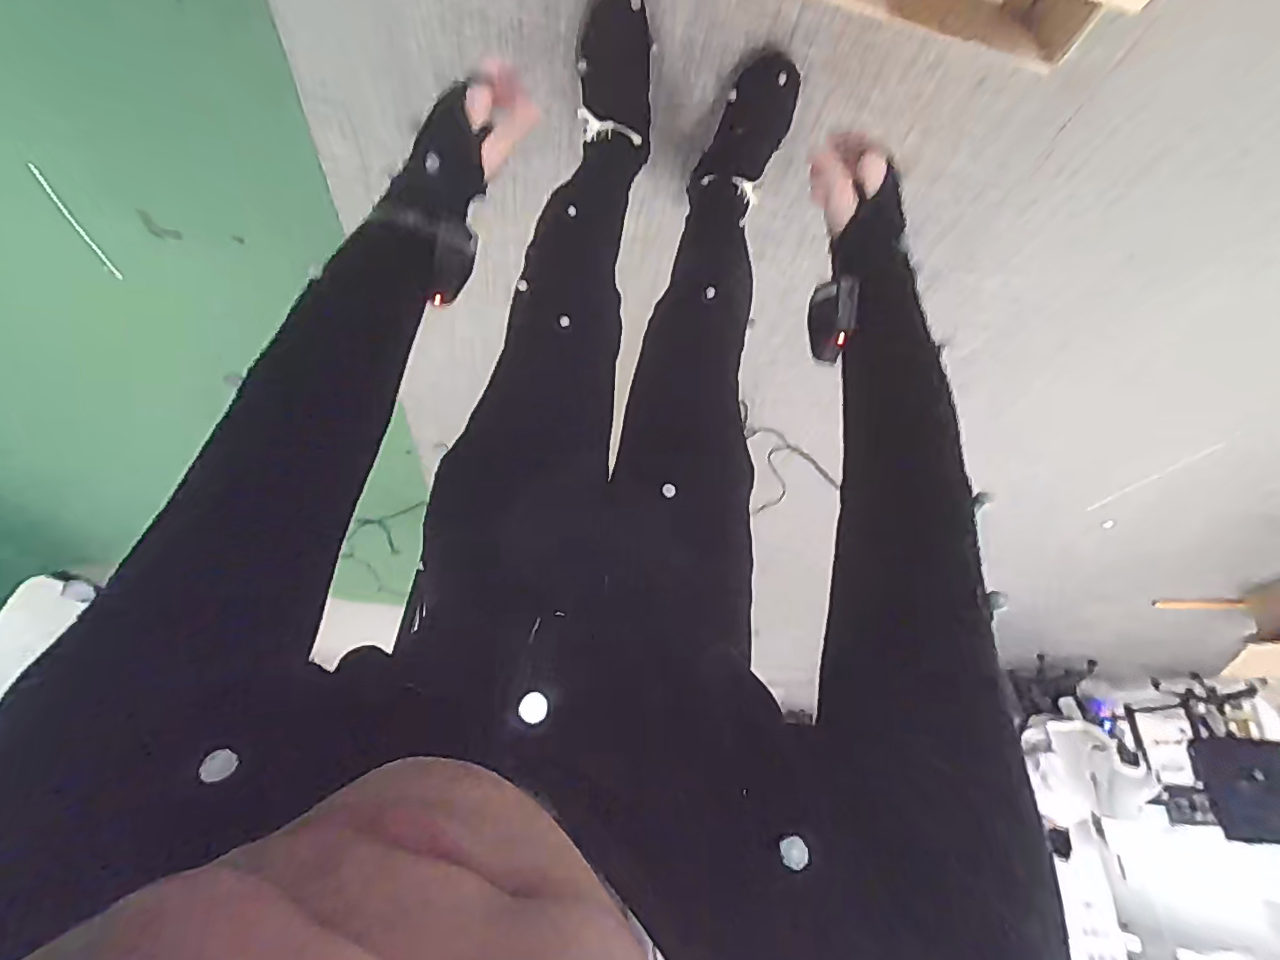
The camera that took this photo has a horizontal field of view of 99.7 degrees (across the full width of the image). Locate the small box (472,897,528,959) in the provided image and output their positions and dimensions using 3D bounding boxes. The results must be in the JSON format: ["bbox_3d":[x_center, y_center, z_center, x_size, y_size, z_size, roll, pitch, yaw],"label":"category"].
[{"bbox_3d":[-0.492,1.590,1.906,0.168,0.176,0.179,10,151,-9],"label":"small box"}]
